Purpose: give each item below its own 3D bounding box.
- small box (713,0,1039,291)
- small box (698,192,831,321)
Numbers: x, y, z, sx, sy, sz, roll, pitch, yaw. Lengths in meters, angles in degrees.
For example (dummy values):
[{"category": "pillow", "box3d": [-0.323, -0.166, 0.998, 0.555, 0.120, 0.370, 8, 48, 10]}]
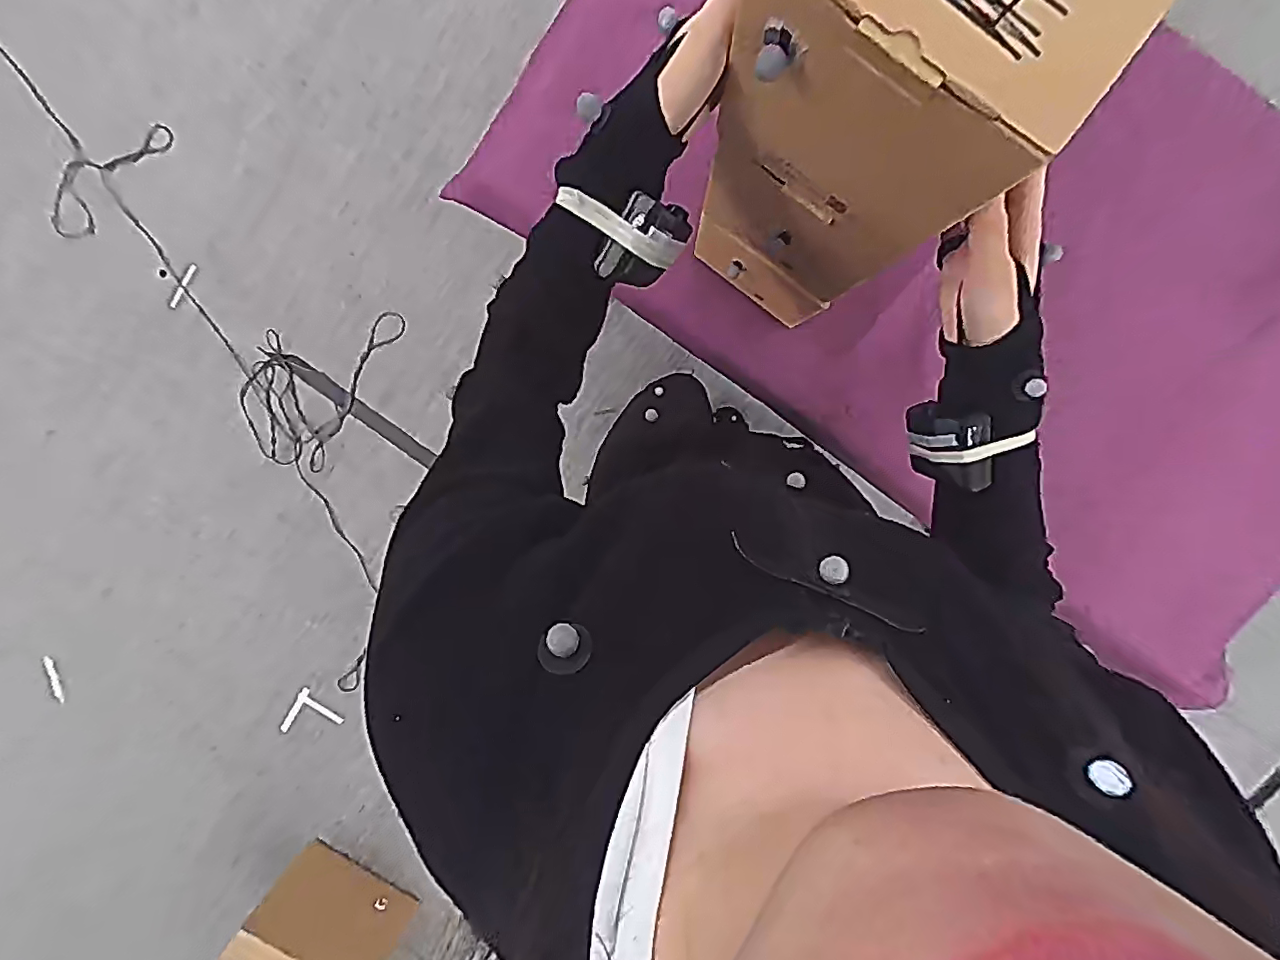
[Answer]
[{"category": "small box", "box3d": [0.177, -0.292, 0.474, 0.168, 0.176, 0.179, 34, 99, -3]}, {"category": "small box", "box3d": [0.182, -0.310, 0.636, 0.168, 0.176, 0.179, 36, 98, -3]}]
